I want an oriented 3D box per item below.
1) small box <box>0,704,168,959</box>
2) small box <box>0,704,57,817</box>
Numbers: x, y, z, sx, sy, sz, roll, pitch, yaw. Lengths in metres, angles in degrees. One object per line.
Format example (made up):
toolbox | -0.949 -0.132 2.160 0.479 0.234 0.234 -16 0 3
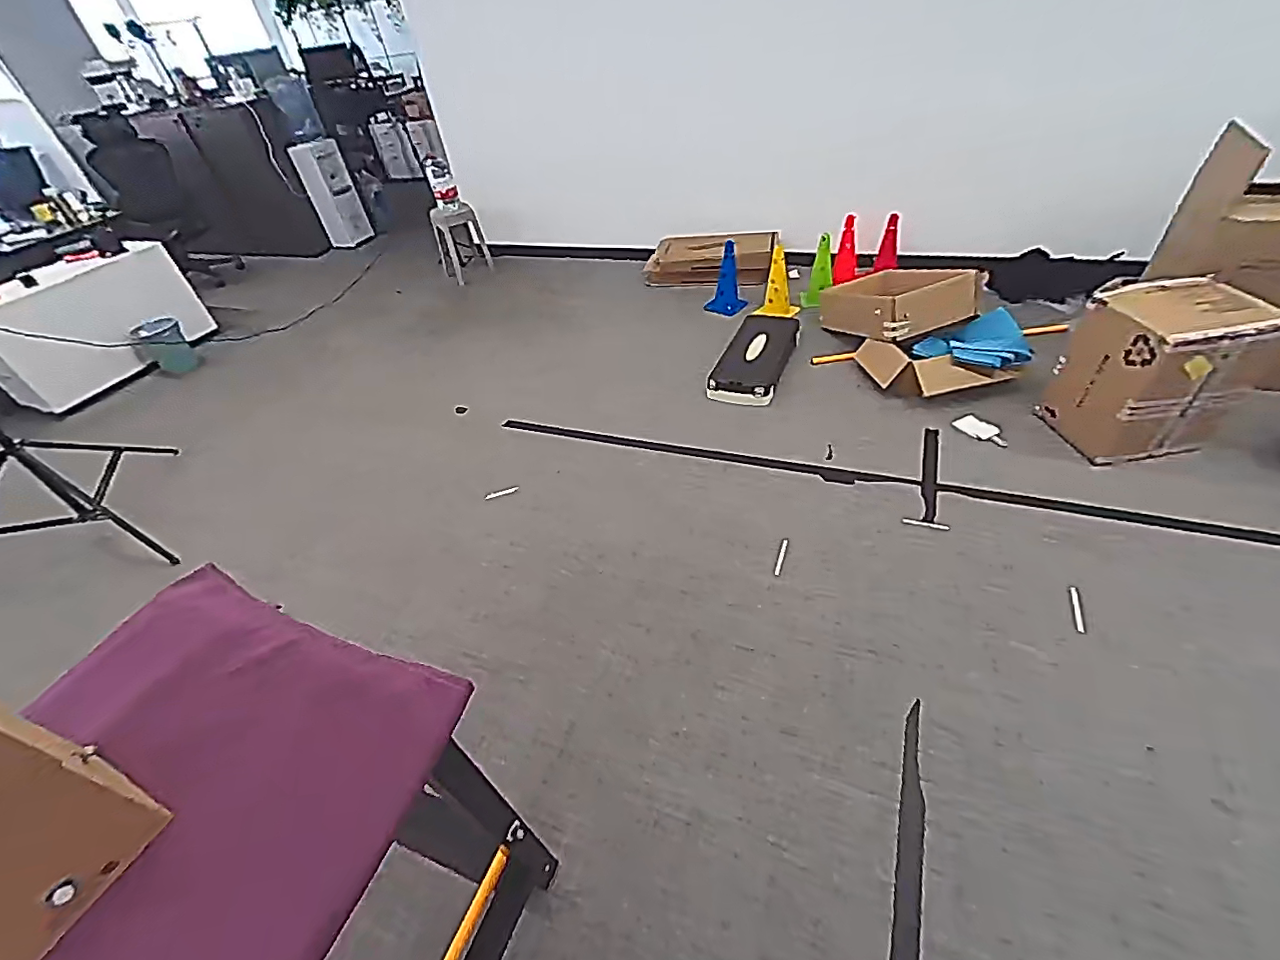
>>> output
small box | -0.672 0.375 0.570 0.179 0.176 0.168 14 46 22
small box | -0.688 0.251 0.462 0.179 0.176 0.168 13 47 22
